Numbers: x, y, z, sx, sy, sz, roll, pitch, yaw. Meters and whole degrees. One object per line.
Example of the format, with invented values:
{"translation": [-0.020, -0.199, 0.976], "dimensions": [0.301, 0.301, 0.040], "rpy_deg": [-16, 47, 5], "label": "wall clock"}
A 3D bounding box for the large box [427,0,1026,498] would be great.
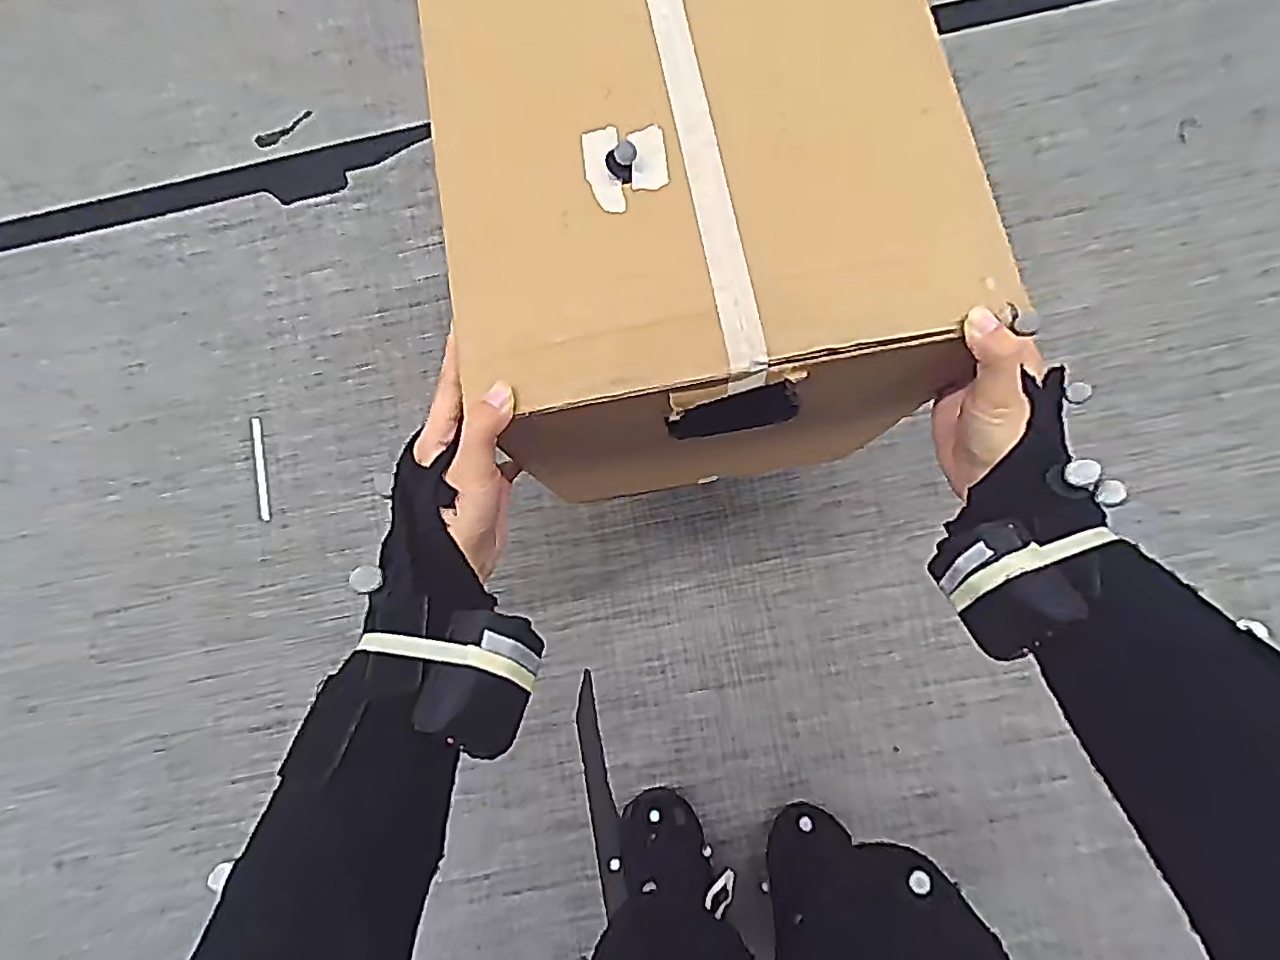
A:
{"translation": [0.035, -0.225, 0.487], "dimensions": [0.320, 0.320, 0.408], "rpy_deg": [-11, 79, 1], "label": "large box"}
